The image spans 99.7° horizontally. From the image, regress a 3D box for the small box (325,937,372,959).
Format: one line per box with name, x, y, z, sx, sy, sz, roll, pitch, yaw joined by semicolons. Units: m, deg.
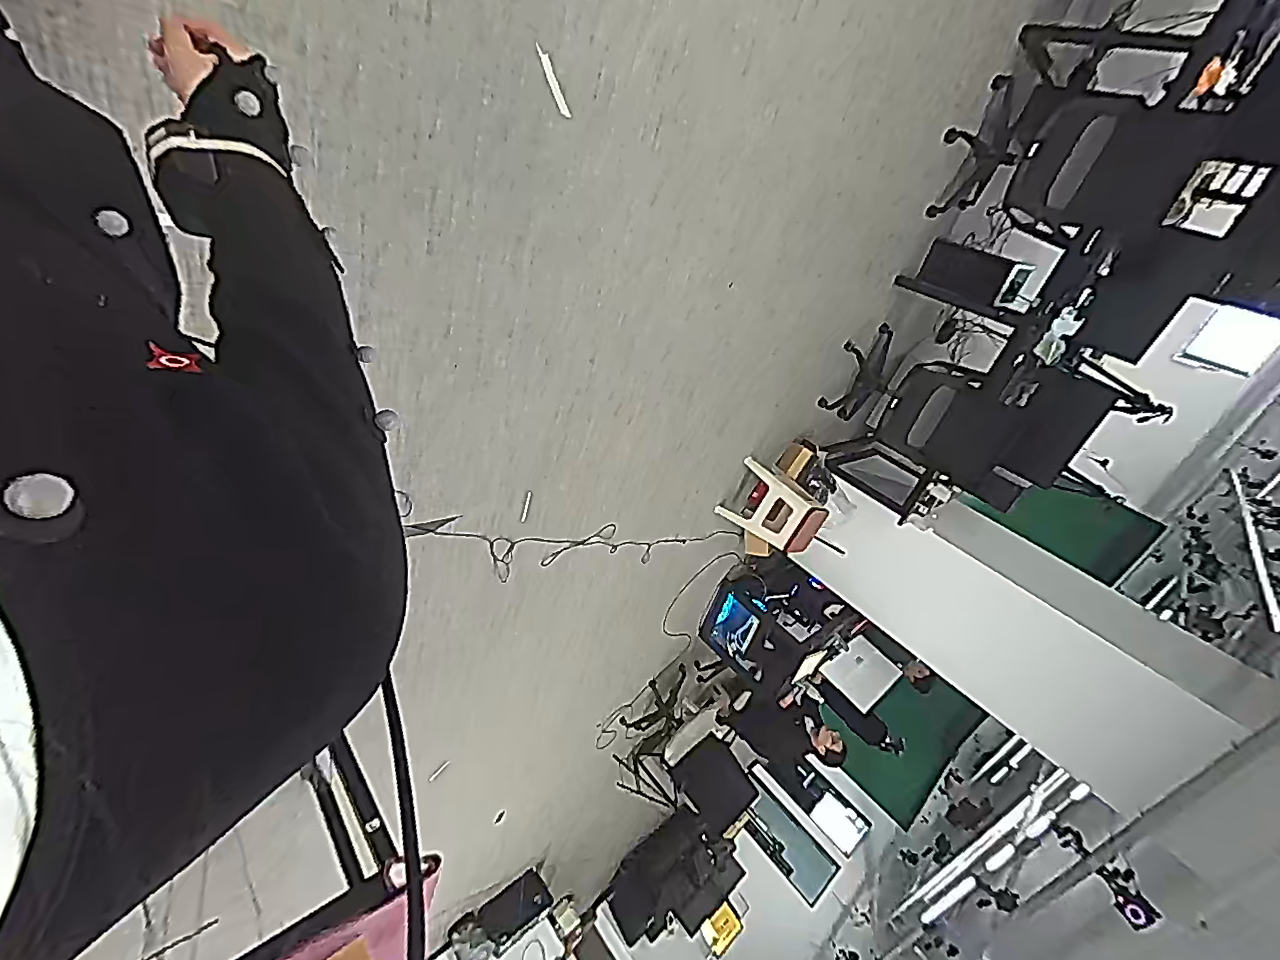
small box;-0.772;1.344;1.401;0.168;0.176;0.179;-19;135;-38
